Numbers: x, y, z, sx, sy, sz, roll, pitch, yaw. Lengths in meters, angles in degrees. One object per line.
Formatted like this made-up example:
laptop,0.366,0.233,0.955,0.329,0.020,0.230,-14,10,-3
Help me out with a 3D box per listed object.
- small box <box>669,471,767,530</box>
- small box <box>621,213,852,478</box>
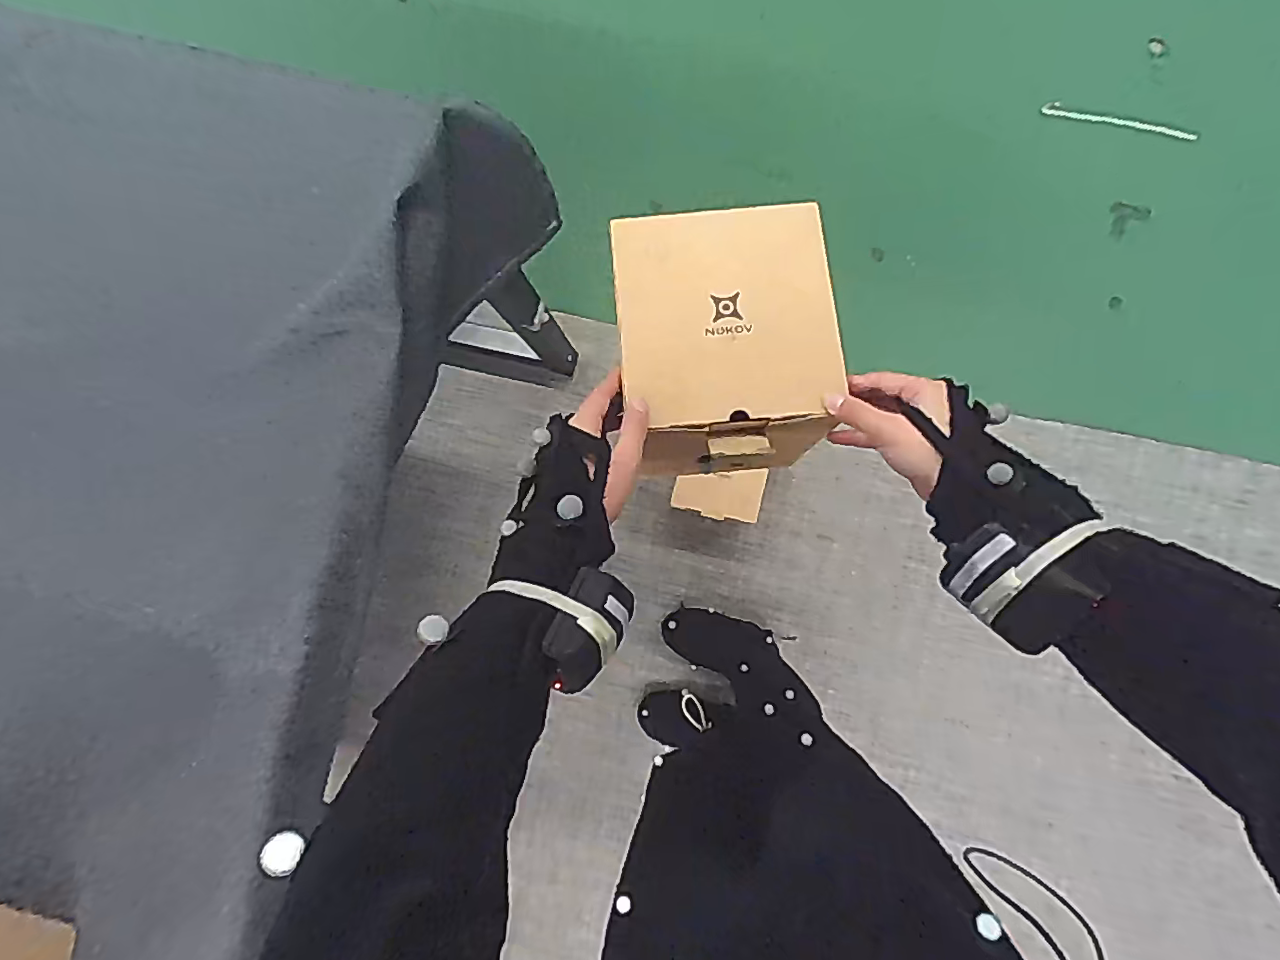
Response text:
small box,0.160,-0.003,1.089,0.168,0.176,0.179,13,87,6
small box,0.069,-0.108,0.492,0.168,0.176,0.179,-4,79,-1
